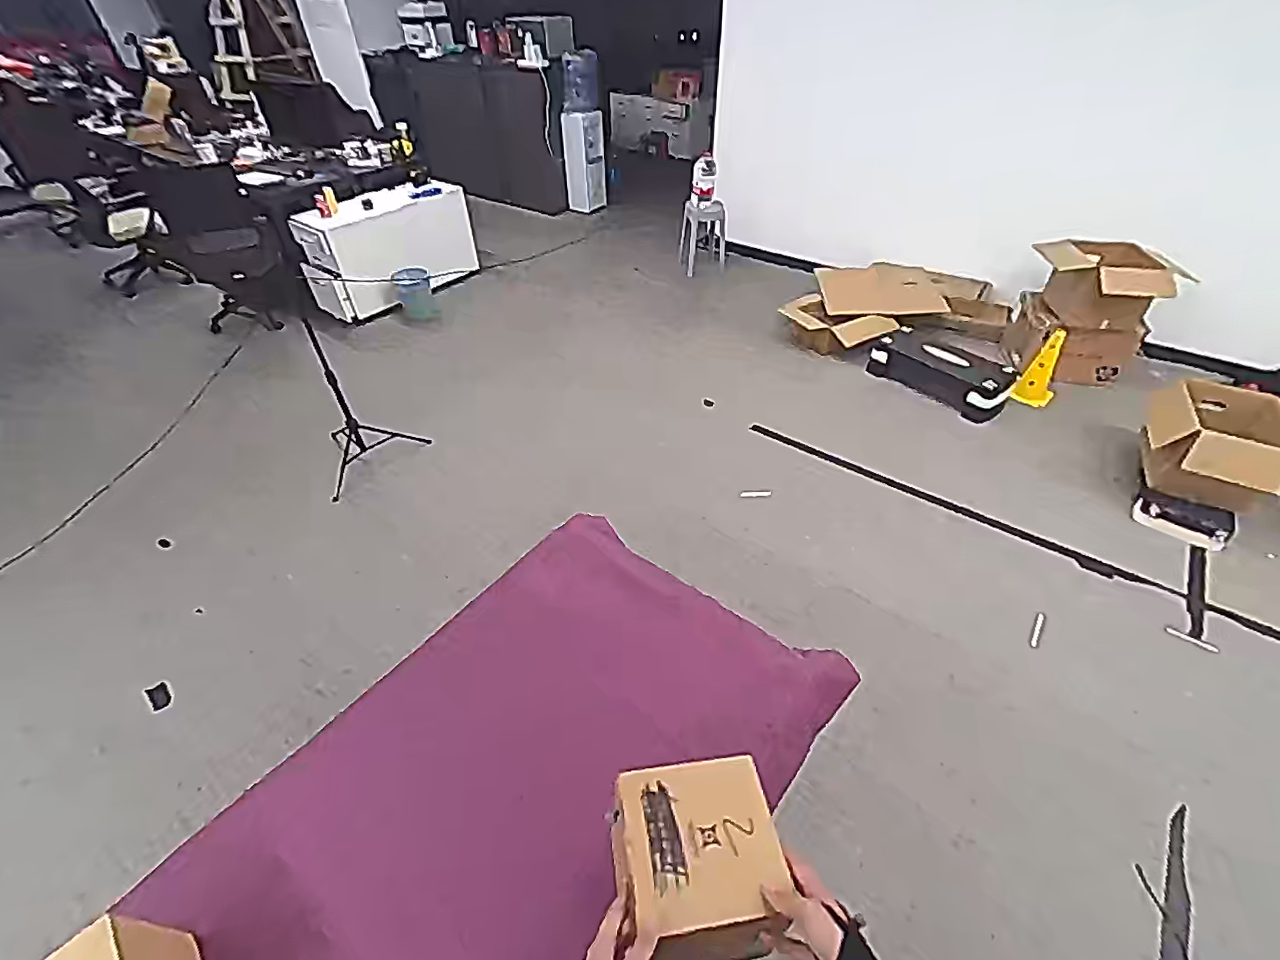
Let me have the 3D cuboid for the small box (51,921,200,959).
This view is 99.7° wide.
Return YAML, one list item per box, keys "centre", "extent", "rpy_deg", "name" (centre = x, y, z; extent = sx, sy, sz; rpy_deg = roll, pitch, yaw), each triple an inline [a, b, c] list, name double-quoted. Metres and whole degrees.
- centre: [-0.581, 0.622, 0.568]
  extent: [0.179, 0.176, 0.168]
  rpy_deg: [33, 52, 31]
  name: "small box"
